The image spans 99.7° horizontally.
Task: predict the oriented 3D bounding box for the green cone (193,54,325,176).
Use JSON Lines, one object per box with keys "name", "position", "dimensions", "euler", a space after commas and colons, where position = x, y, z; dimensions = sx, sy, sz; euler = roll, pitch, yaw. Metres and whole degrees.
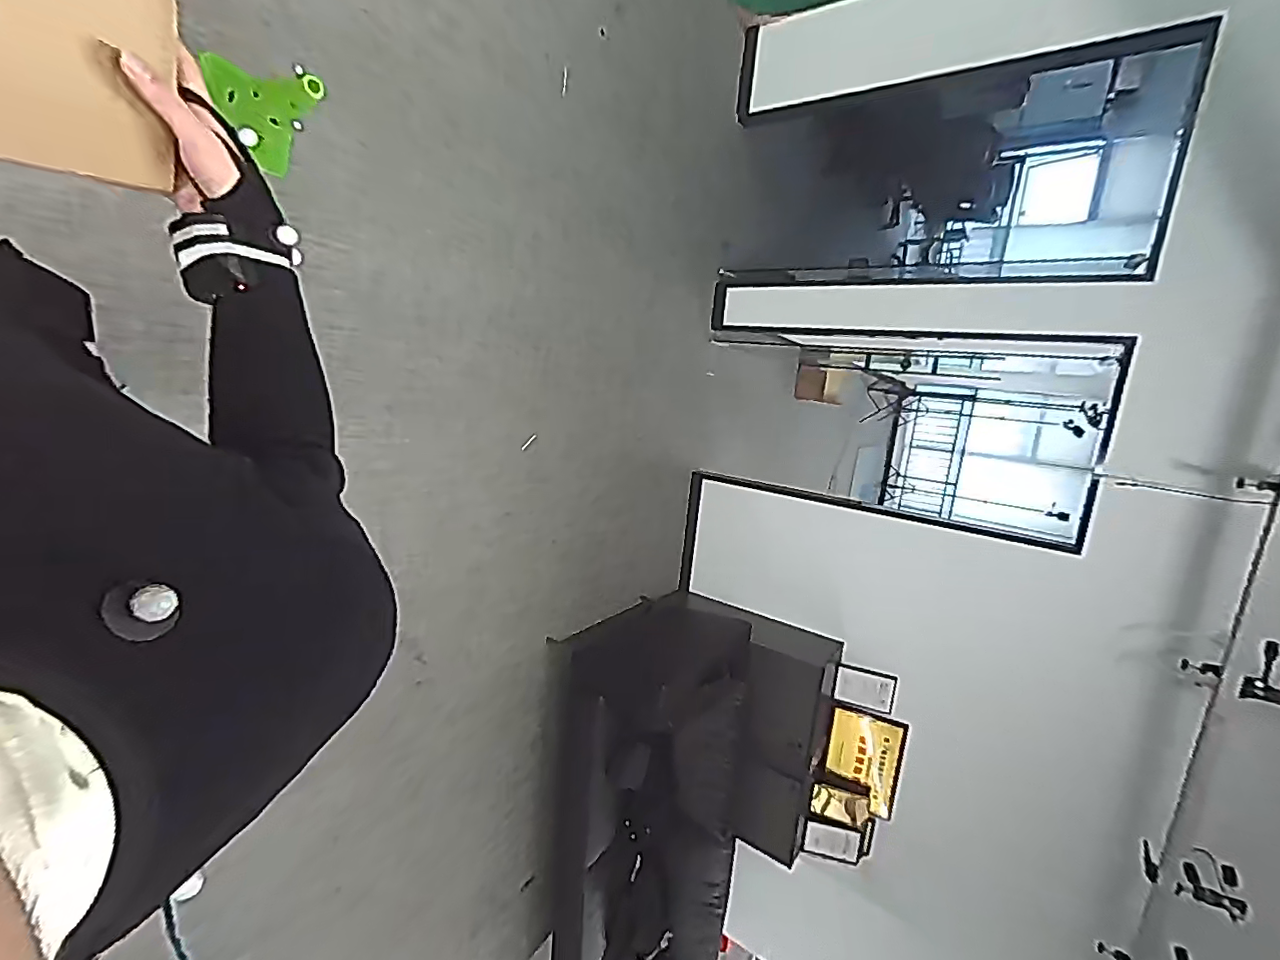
{"name": "green cone", "position": [-0.820, -0.853, 1.223], "dimensions": [0.200, 0.368, 0.202], "euler": [1, 98, -57]}
